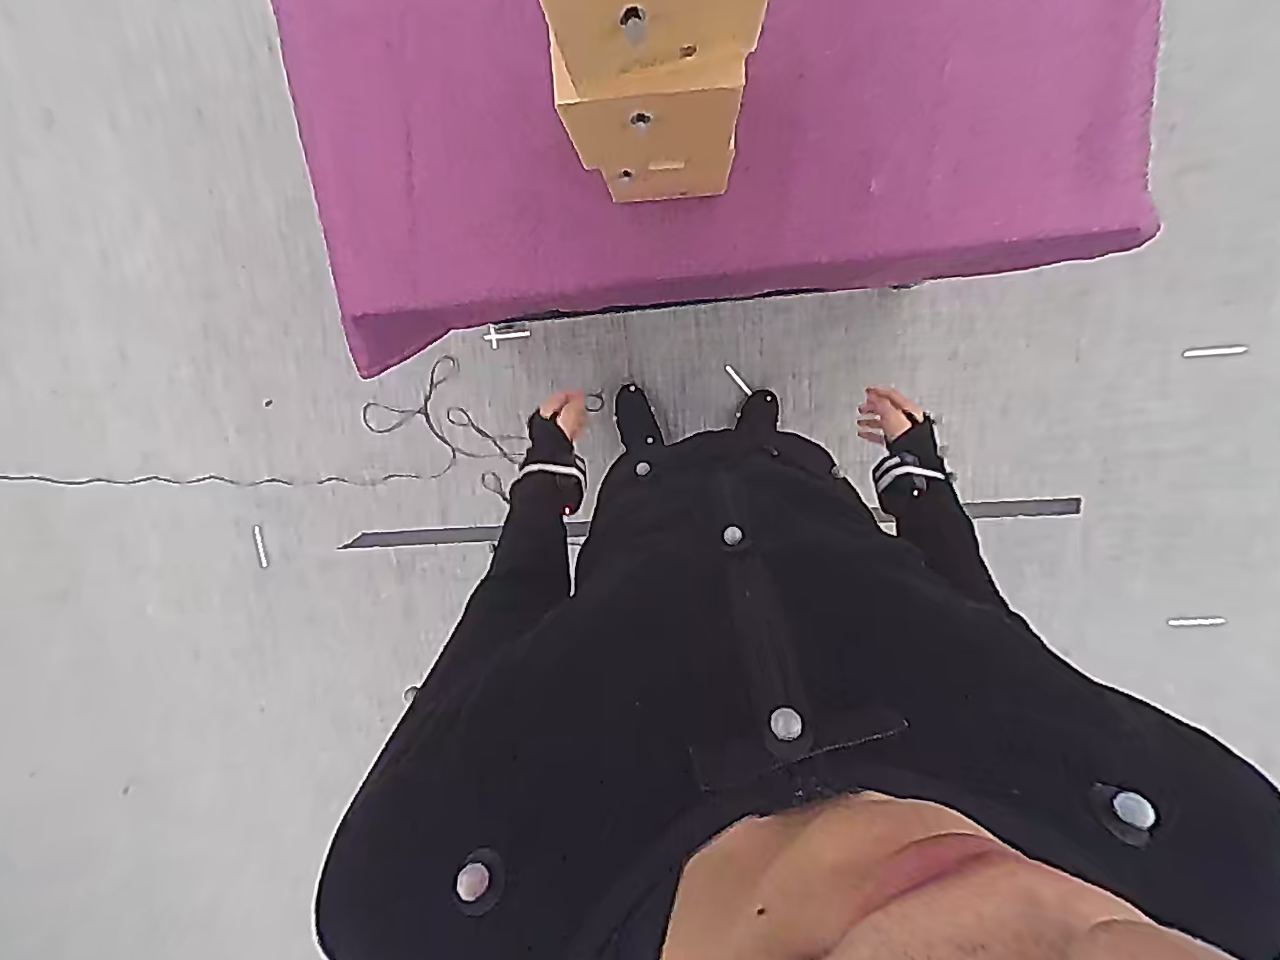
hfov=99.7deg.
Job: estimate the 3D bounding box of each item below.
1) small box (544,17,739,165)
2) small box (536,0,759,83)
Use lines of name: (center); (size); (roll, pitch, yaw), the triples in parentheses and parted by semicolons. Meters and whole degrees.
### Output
small box: (0.005, -0.444, 0.554); (0.179, 0.176, 0.168); (-2, 102, 4)
small box: (-0.002, -0.429, 0.392); (0.168, 0.176, 0.179); (-10, 99, 6)
